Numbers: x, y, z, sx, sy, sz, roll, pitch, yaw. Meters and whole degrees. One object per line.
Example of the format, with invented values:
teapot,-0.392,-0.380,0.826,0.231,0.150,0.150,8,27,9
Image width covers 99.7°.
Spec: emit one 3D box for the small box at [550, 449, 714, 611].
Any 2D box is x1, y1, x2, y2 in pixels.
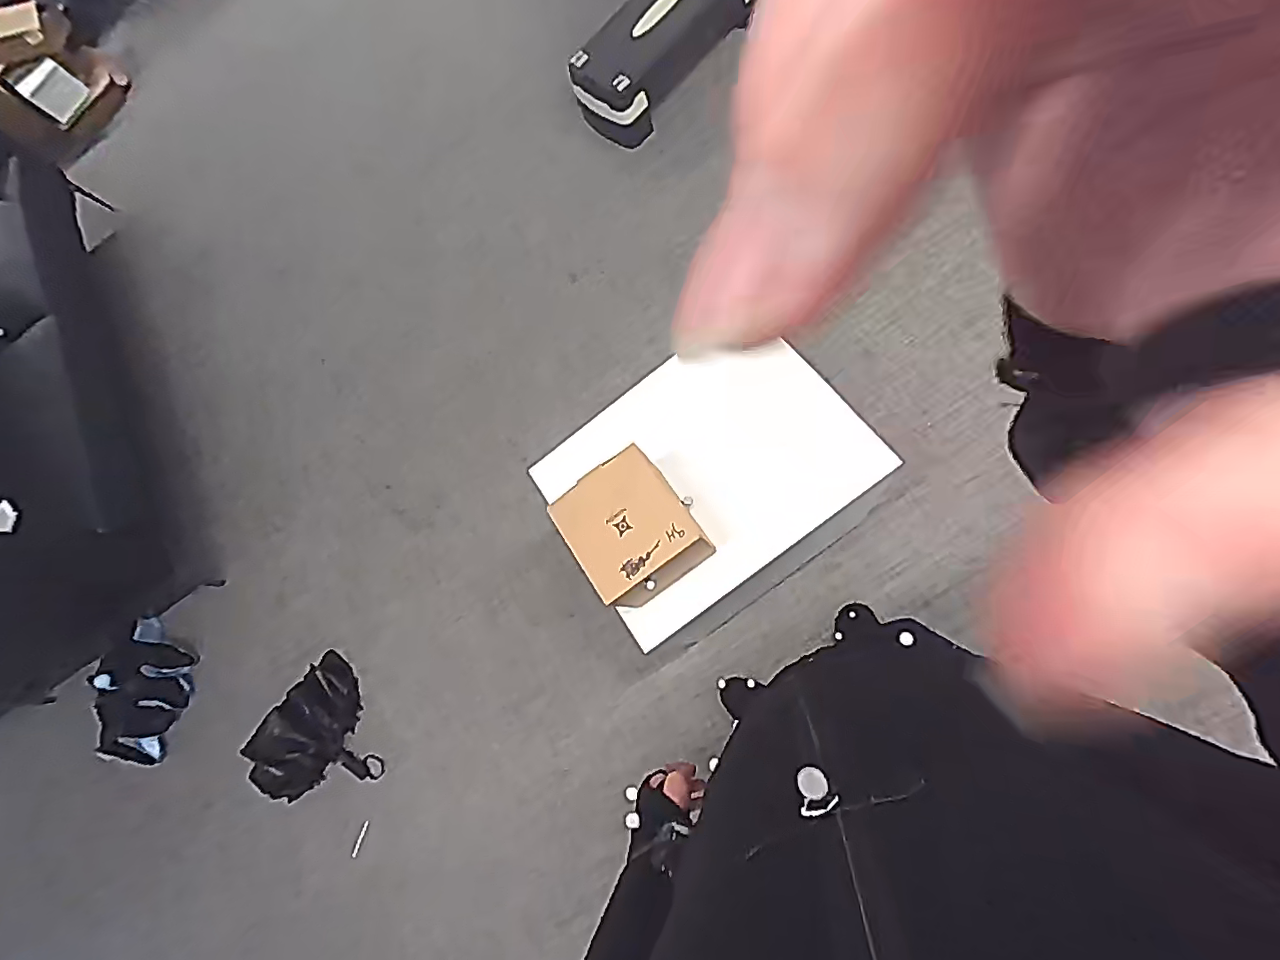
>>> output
small box,-0.006,0.087,0.841,0.168,0.176,0.179,-37,68,3
